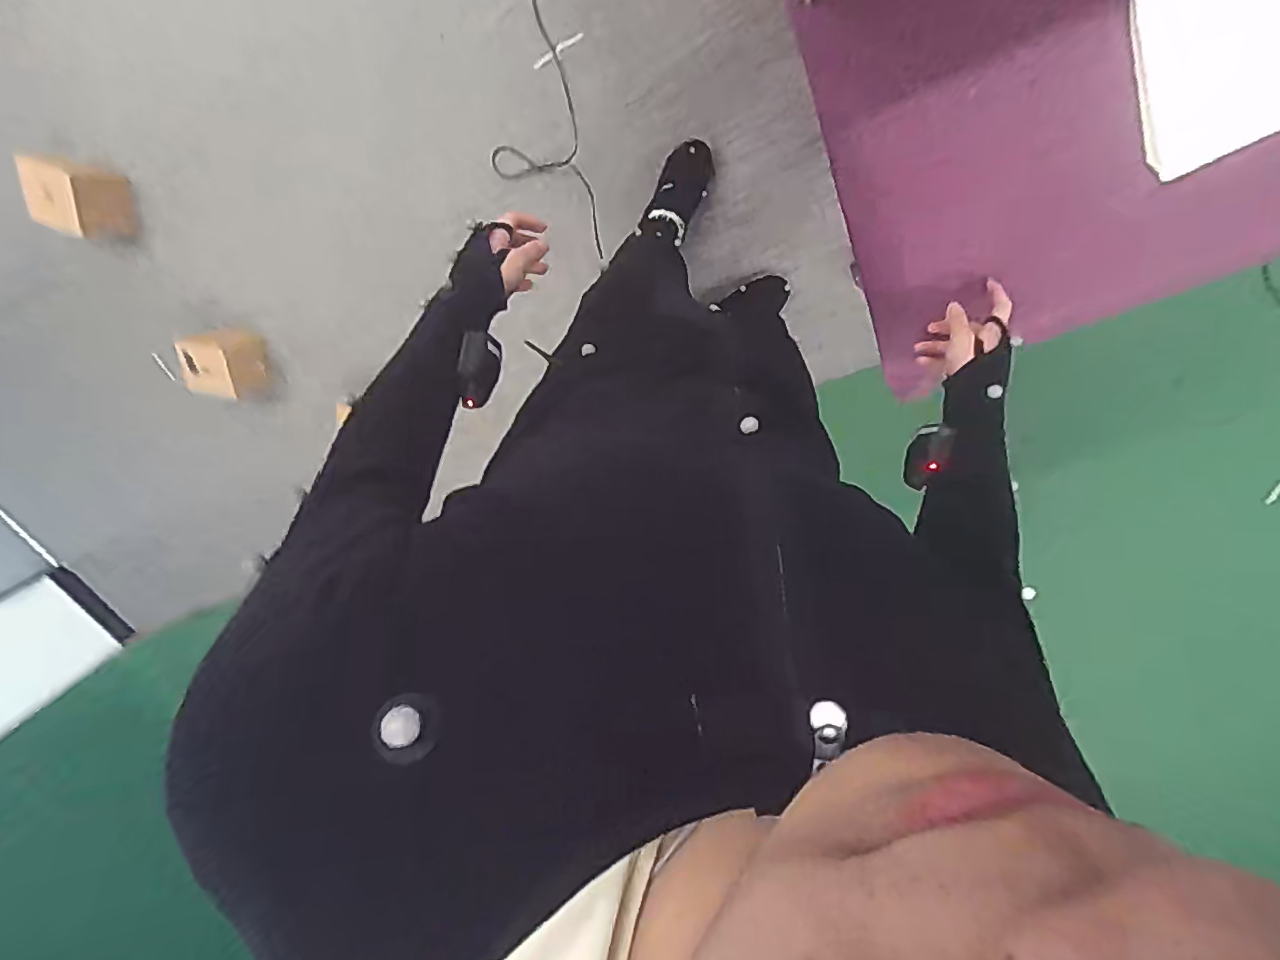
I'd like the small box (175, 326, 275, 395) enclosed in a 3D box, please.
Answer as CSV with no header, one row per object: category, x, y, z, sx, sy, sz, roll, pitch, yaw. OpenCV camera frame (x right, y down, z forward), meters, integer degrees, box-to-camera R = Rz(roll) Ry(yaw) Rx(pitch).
small box,-1.340,-0.394,1.757,0.179,0.176,0.168,12,120,6
